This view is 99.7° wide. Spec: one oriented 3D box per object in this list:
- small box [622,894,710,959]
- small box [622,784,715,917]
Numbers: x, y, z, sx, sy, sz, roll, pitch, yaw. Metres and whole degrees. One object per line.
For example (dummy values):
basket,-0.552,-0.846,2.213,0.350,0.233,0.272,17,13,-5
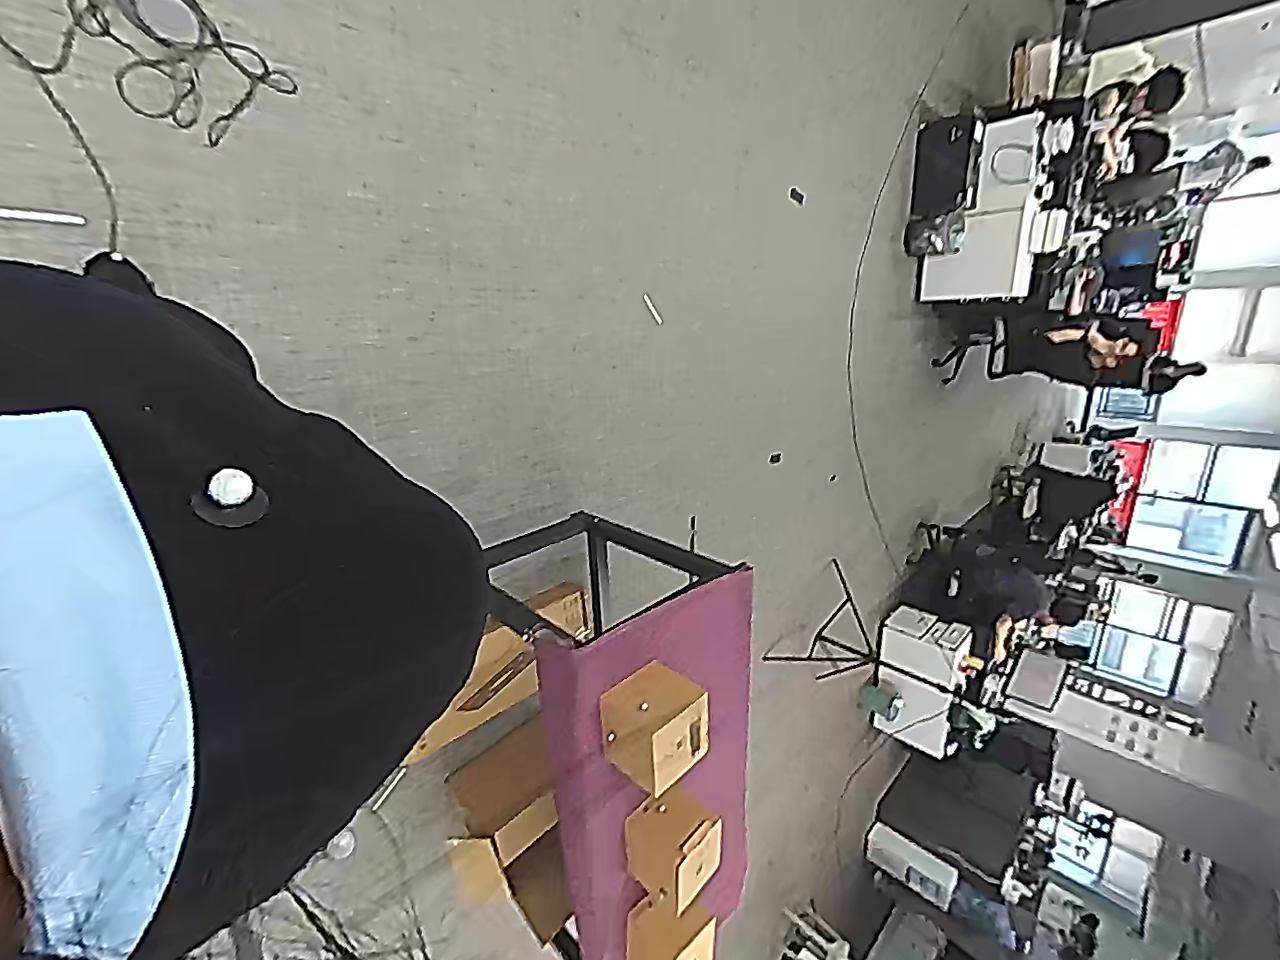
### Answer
small box,0.066,1.221,1.431,0.168,0.176,0.179,-10,108,-44
small box,0.070,0.913,1.350,0.168,0.176,0.179,-21,115,-44
